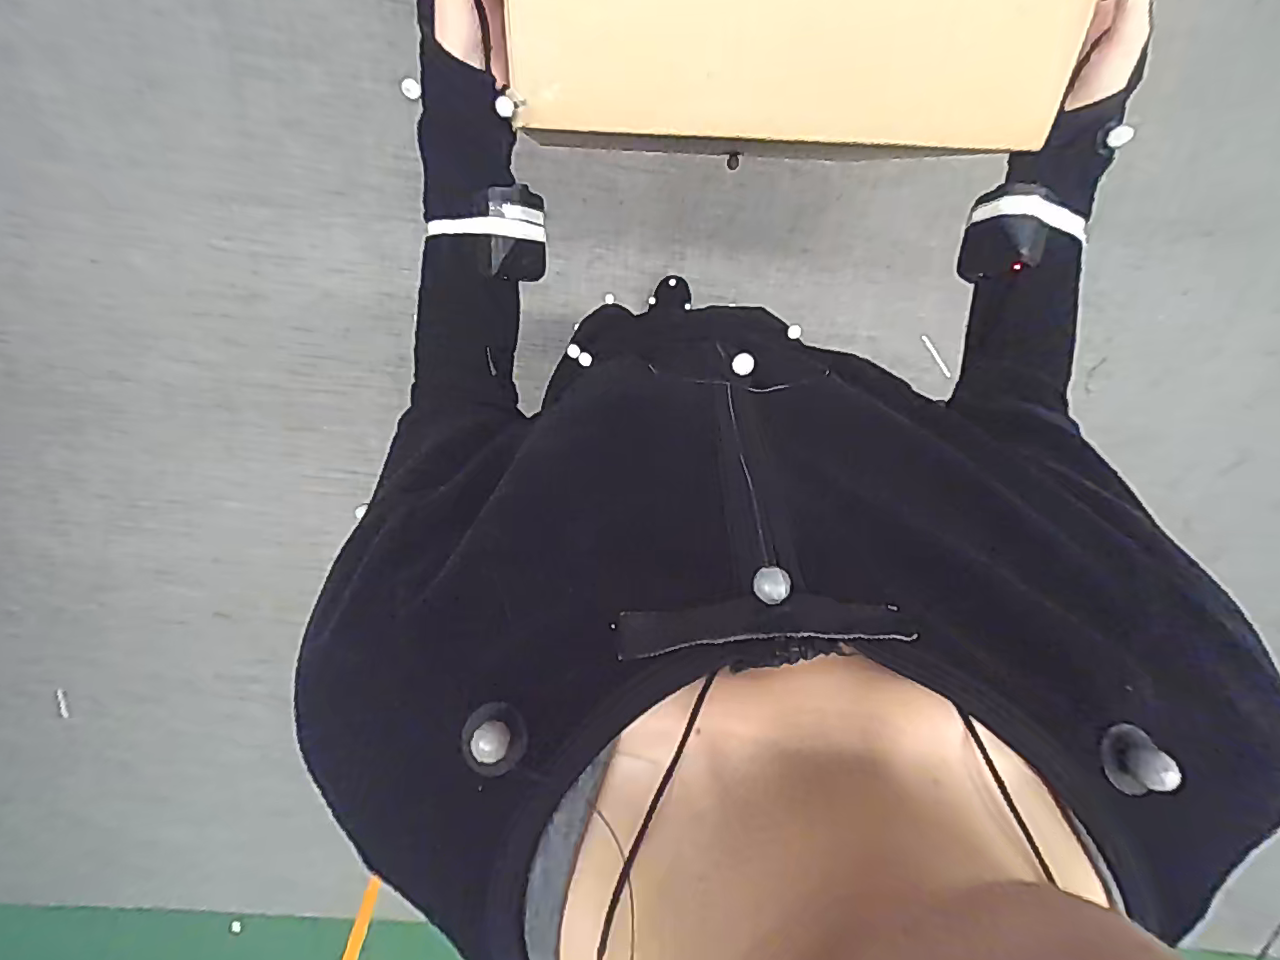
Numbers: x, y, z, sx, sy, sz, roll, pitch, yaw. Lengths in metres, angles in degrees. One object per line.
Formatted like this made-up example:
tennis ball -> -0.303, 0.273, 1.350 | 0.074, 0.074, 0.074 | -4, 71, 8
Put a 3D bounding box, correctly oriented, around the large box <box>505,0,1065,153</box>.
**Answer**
large box -> 0.097, -0.466, 0.467 | 0.408, 0.320, 0.320 | -1, 119, -6
